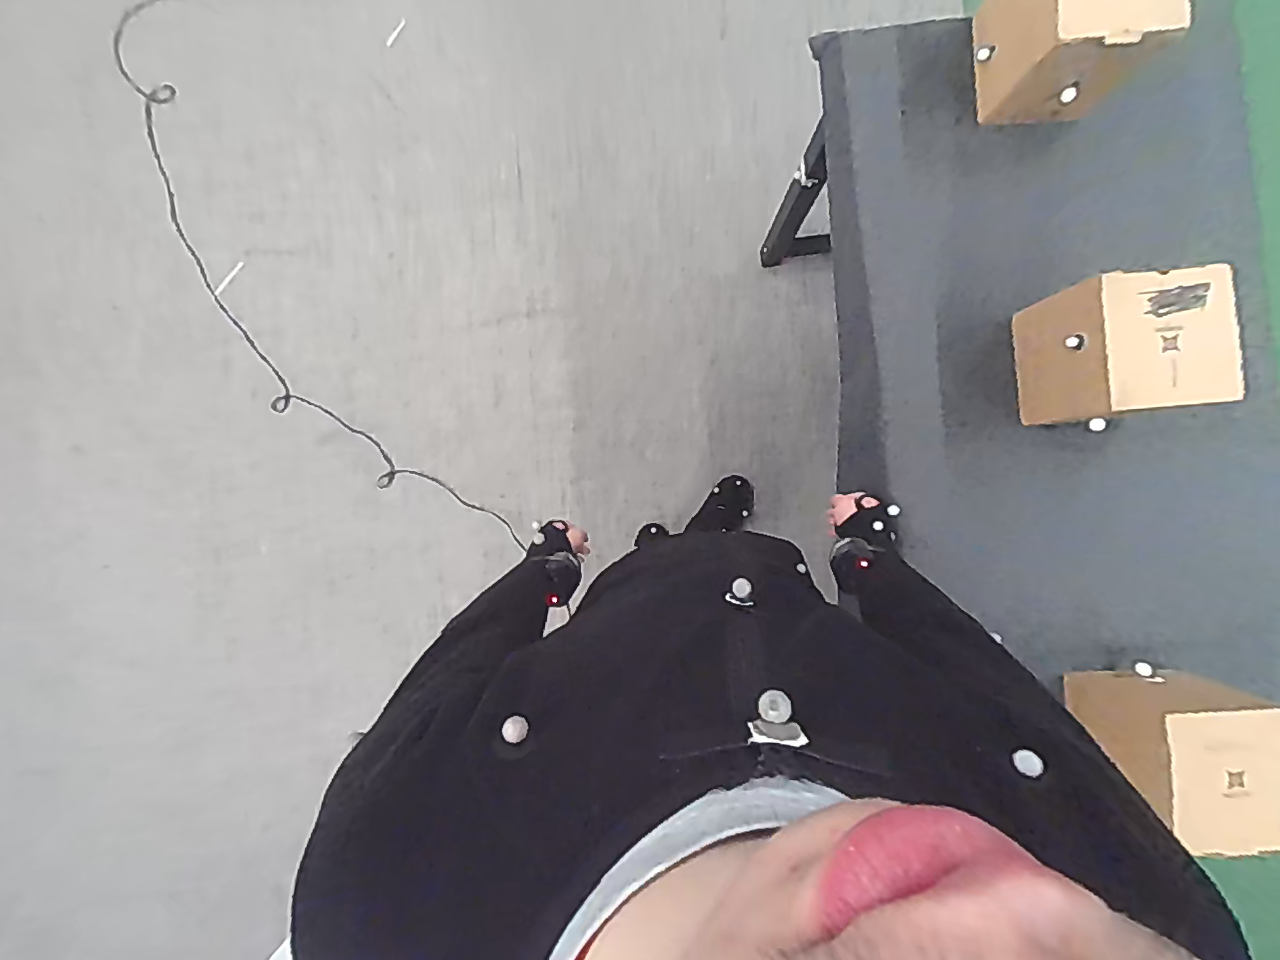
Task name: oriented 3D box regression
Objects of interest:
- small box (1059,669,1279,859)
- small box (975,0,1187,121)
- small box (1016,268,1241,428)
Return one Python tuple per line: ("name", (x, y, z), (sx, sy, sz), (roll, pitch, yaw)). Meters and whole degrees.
("small box", (0.720, 0.376, 0.741), (0.168, 0.176, 0.179), (-3, 88, 0))
("small box", (0.601, -0.636, 0.758), (0.168, 0.176, 0.179), (-3, 90, 1))
("small box", (0.658, -0.171, 0.750), (0.168, 0.176, 0.179), (-4, 90, 1))
